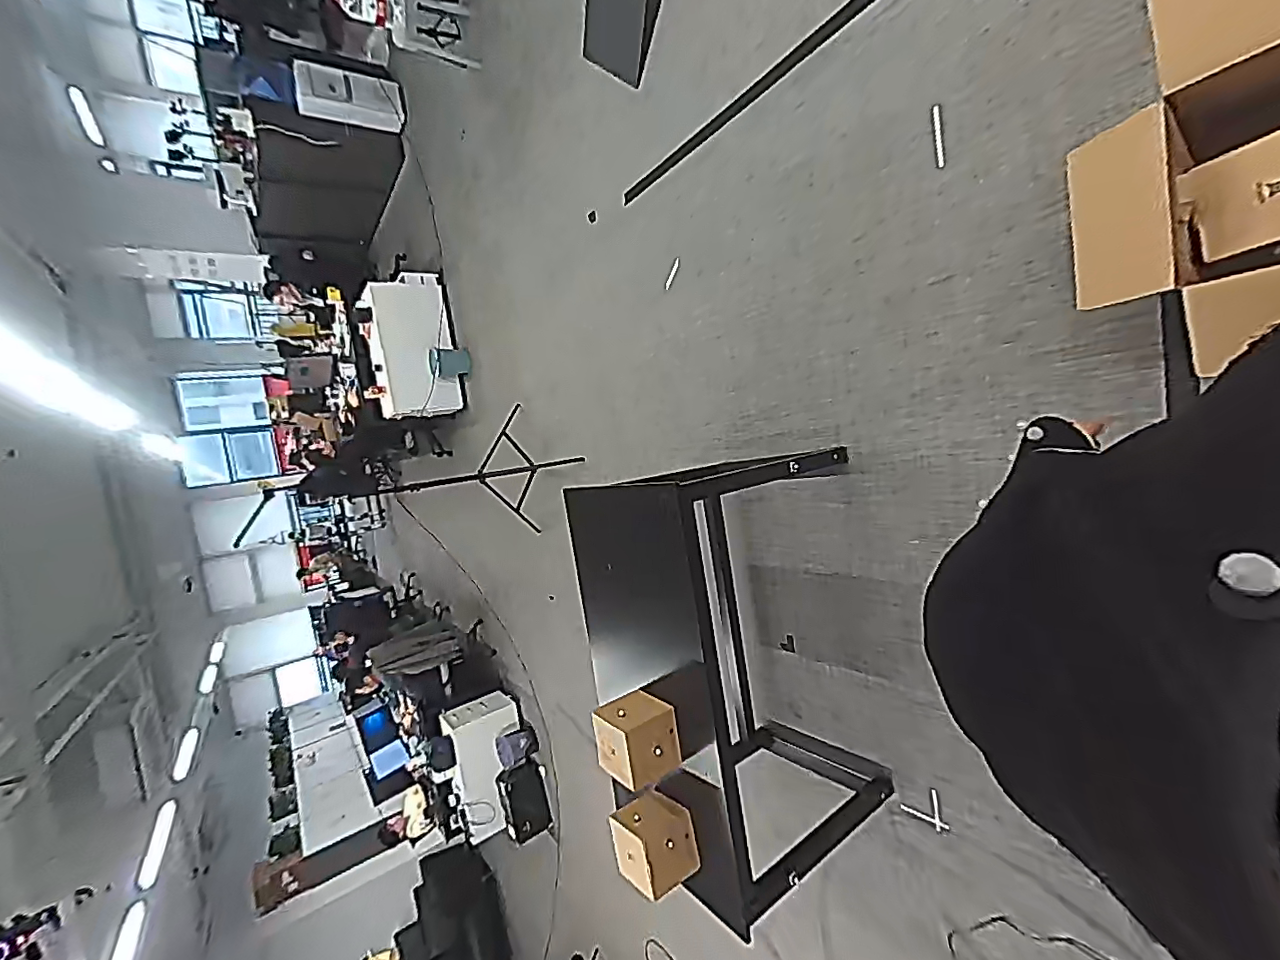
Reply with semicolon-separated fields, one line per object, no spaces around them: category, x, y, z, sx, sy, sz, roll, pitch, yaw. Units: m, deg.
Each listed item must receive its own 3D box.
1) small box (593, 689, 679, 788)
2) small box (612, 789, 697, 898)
small box;-0.005;0.709;1.508;0.179;0.176;0.168;-2;97;55
small box;0.046;1.012;1.526;0.179;0.176;0.168;-13;88;57
